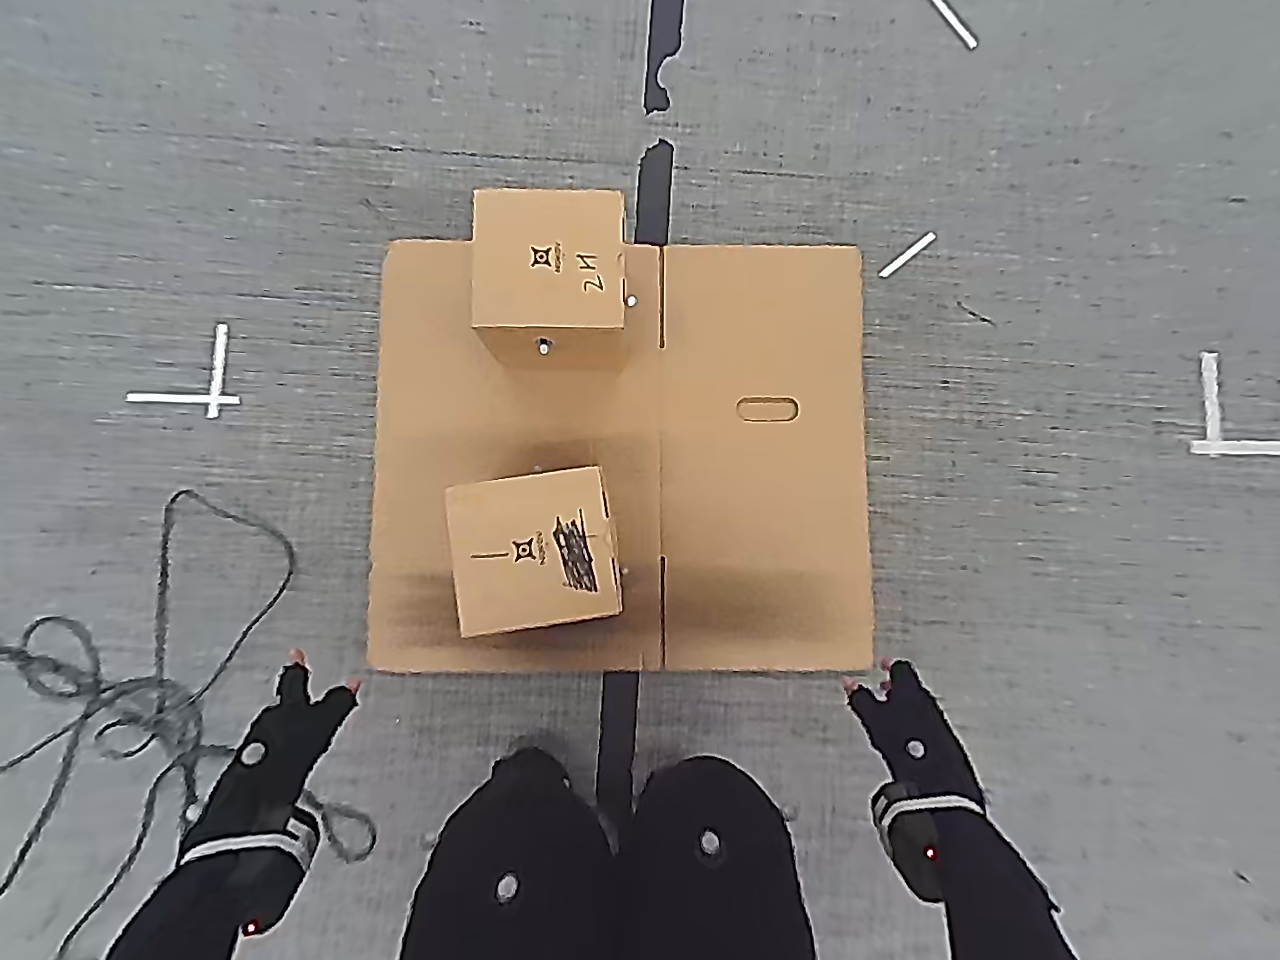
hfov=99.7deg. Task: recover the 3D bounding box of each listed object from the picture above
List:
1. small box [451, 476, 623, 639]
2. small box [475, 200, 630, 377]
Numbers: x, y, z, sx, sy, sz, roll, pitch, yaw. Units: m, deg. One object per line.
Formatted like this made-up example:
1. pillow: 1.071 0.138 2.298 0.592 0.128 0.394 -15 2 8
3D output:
1. small box: -0.117 0.089 0.676 0.179 0.176 0.168 -8 86 -2
2. small box: -0.102 -0.236 0.703 0.179 0.176 0.168 1 85 -2
